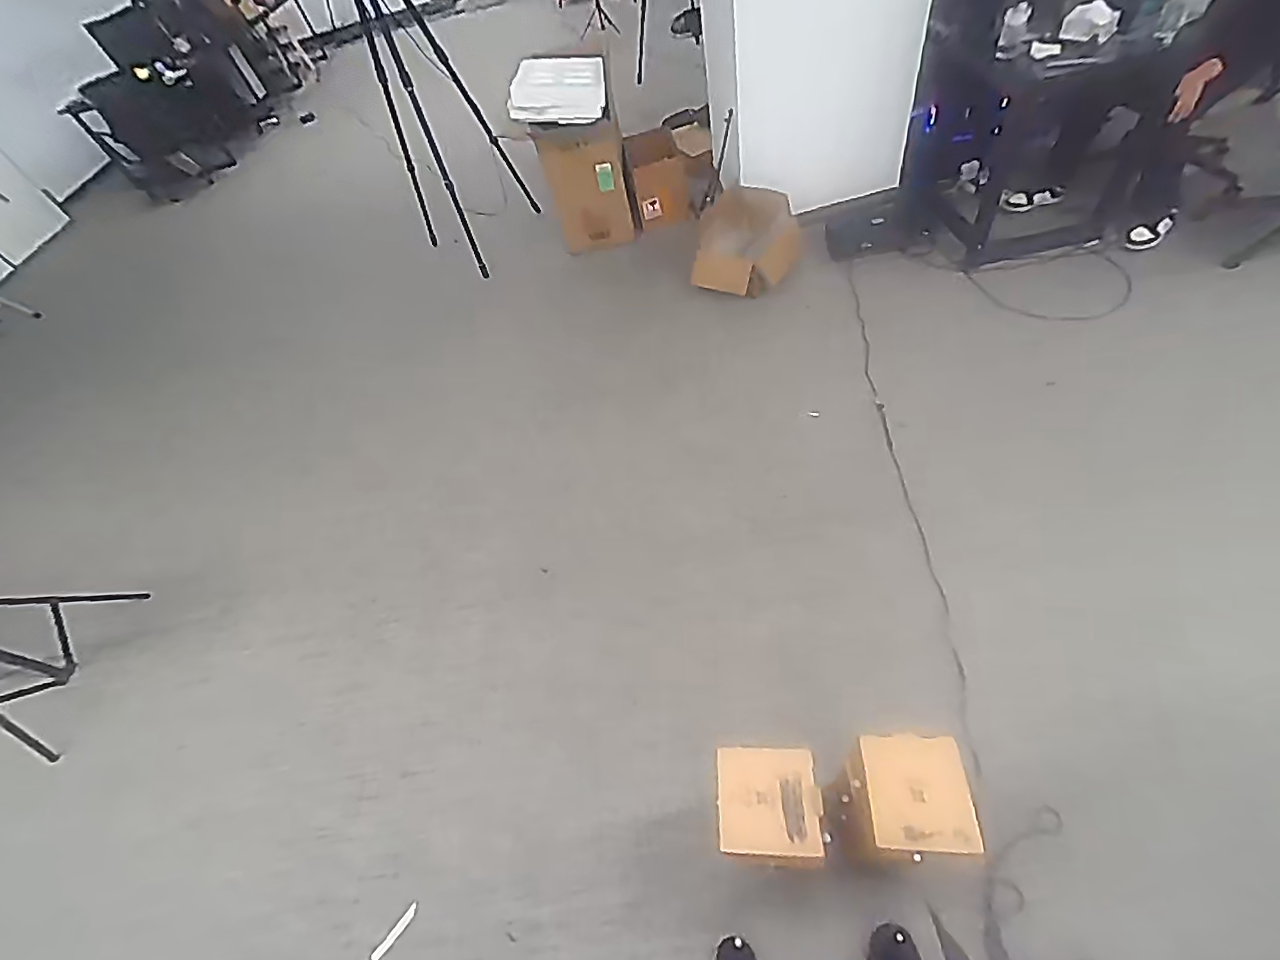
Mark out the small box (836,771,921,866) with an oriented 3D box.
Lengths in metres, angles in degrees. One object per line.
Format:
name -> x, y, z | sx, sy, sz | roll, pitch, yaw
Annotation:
small box -> 0.562, 0.772, 1.243 | 0.168, 0.176, 0.179 | -11, 52, 6

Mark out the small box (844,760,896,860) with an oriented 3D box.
small box -> 0.530, 0.677, 1.117 | 0.179, 0.176, 0.168 | -10, 52, 7

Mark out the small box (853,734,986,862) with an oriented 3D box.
small box -> 0.494, 0.581, 0.988 | 0.168, 0.176, 0.179 | -4, 52, 12

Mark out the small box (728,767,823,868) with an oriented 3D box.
small box -> 0.282, 0.716, 1.145 | 0.179, 0.176, 0.168 | -5, 53, 12
